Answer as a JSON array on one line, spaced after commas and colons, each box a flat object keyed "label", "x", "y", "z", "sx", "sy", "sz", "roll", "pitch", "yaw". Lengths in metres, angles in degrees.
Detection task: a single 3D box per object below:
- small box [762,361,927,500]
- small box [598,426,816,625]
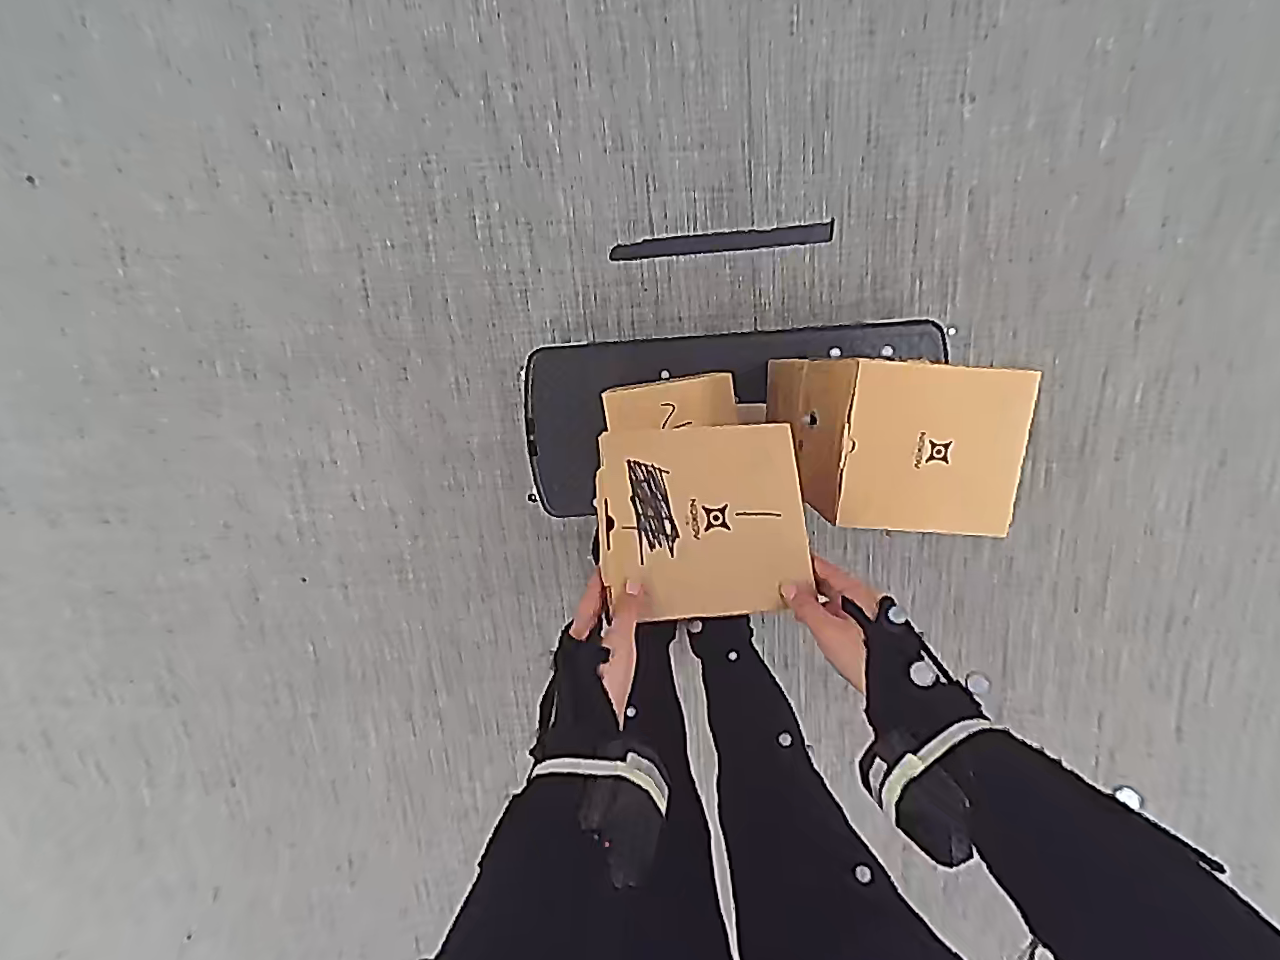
[{"label": "small box", "x": 0.272, "y": -0.077, "z": 0.760, "sx": 0.168, "sy": 0.176, "sz": 0.179, "roll": 0, "pitch": 102, "yaw": 0}, {"label": "small box", "x": 0.052, "y": 0.055, "z": 0.539, "sx": 0.179, "sy": 0.176, "sz": 0.168, "roll": -3, "pitch": 75, "yaw": -3}]
